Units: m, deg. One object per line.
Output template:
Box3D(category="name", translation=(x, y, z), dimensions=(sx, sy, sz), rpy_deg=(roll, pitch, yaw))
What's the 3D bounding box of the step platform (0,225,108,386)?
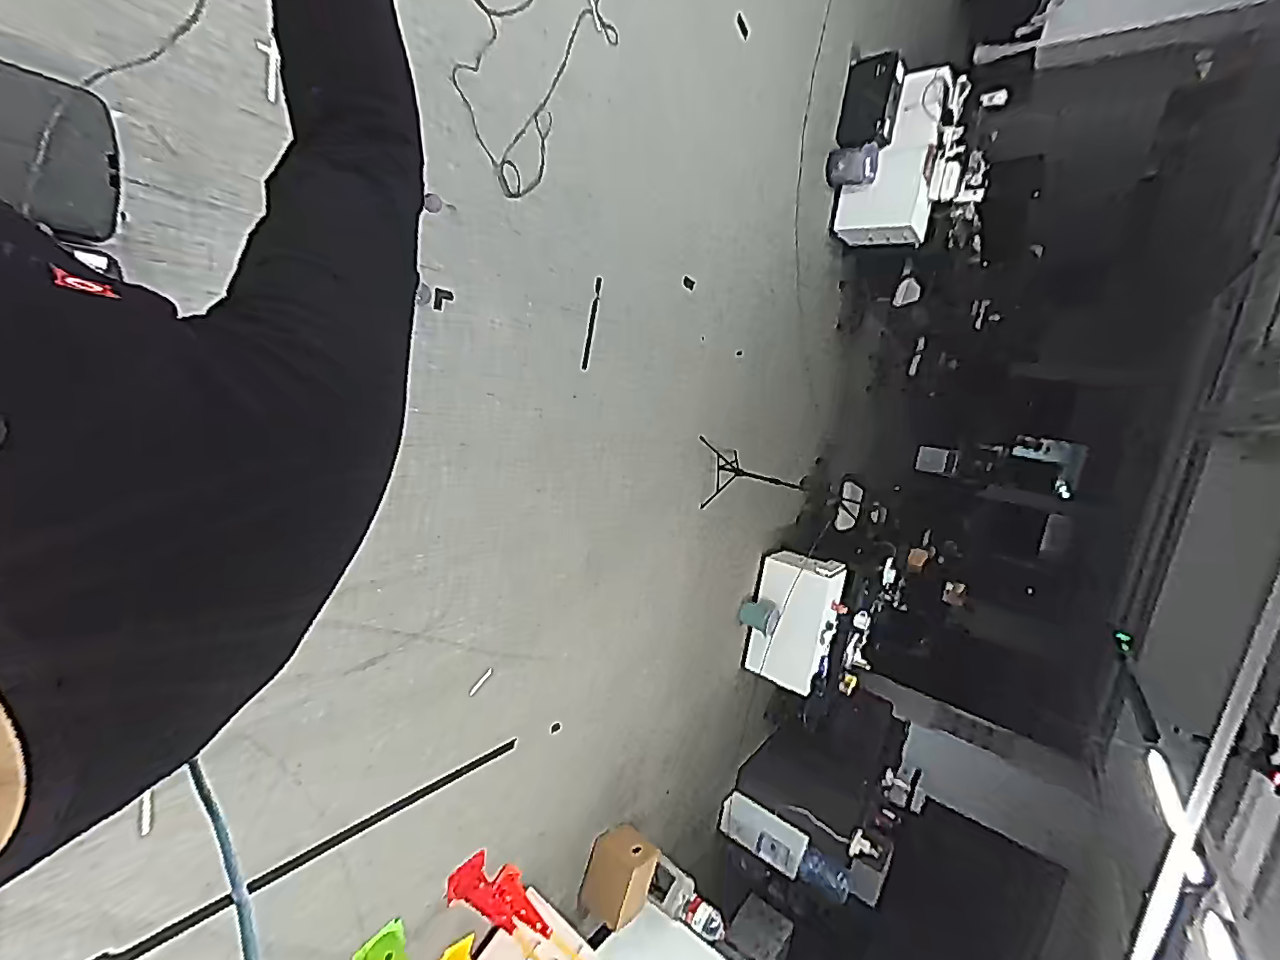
Box3D(category="step platform", translation=(-1.326, -0.314, 0.862), dimensions=(0.684, 0.204, 0.286), rpy_deg=(-7, 108, -51))
